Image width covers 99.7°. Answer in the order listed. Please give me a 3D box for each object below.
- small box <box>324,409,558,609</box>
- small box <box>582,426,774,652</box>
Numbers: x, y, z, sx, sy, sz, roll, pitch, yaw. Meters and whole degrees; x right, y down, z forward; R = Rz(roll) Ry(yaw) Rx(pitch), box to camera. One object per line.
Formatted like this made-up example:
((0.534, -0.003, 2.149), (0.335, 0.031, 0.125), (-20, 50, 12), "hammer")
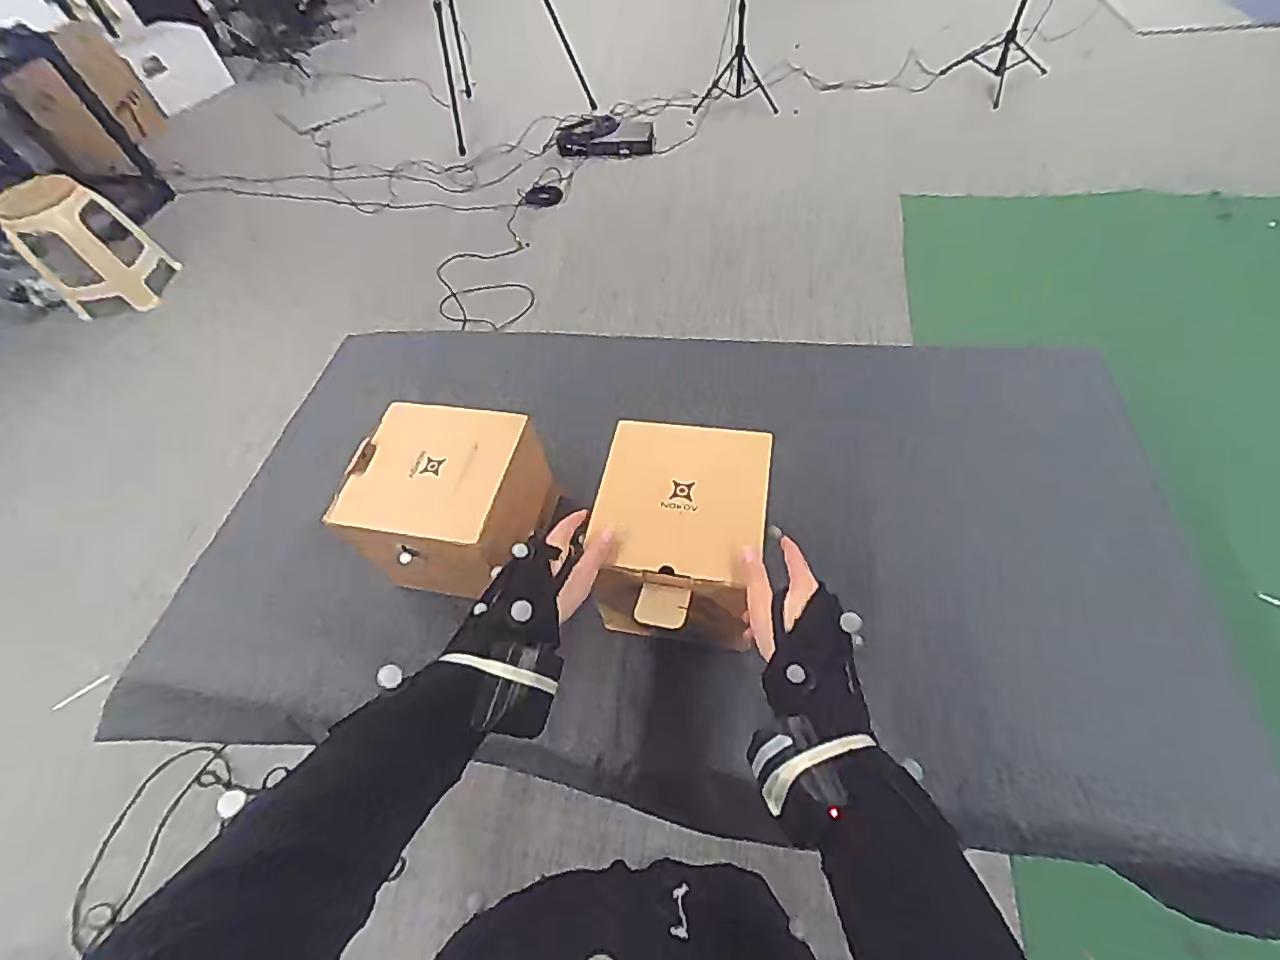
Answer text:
((-0.216, 0.038, 0.641), (0.179, 0.176, 0.168), (7, 57, 11), "small box")
((0.048, 0.067, 0.591), (0.168, 0.176, 0.179), (6, 56, 11), "small box")
